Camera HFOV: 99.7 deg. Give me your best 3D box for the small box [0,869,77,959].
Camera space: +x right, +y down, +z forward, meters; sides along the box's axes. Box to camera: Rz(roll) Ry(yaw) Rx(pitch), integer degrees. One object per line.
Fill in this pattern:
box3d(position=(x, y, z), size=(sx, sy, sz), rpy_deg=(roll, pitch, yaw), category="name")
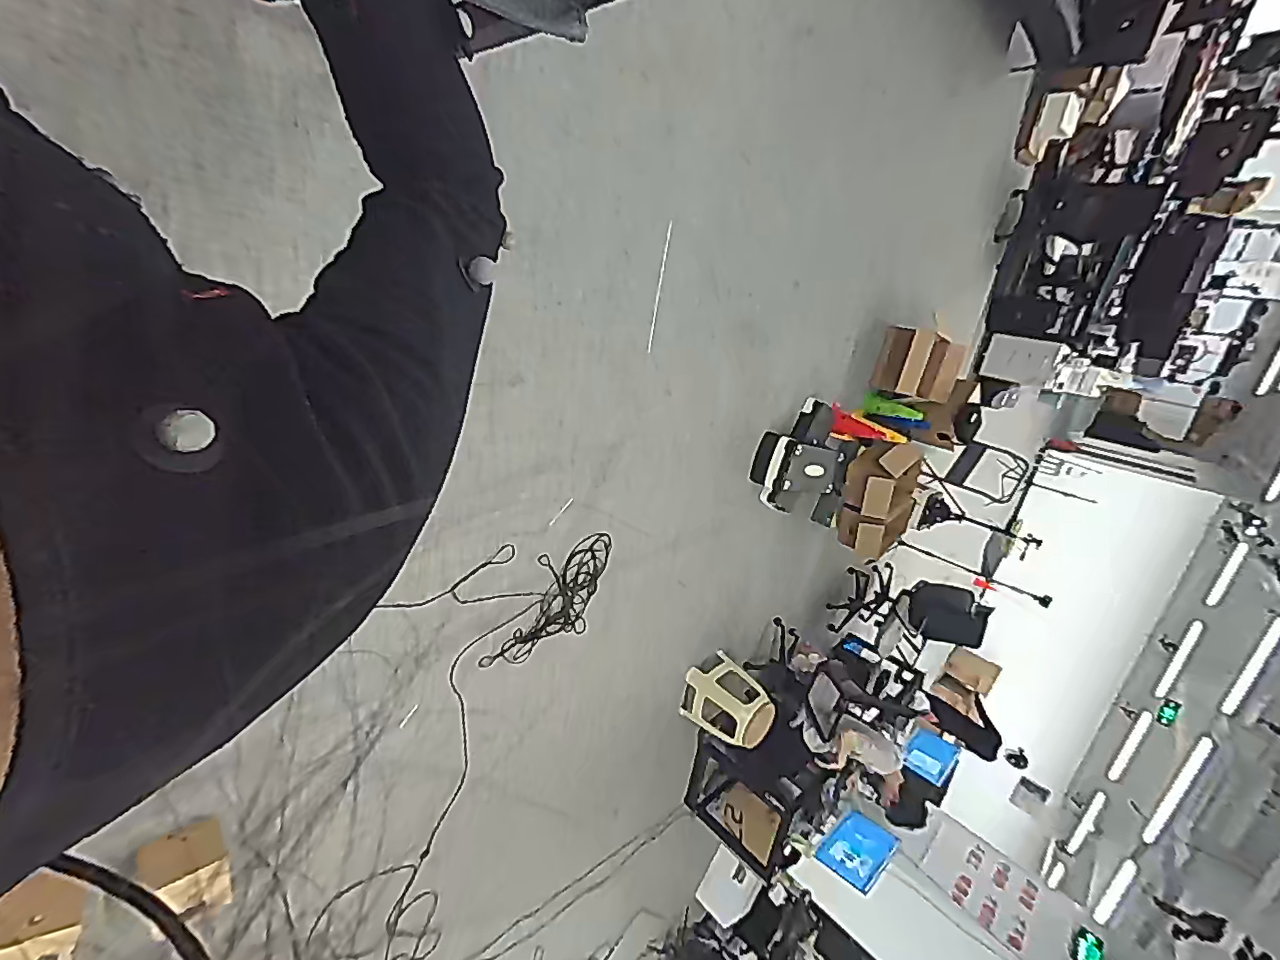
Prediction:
box3d(position=(-1.409, 1.030, 1.215), size=(0.179, 0.176, 0.168), rpy_deg=(14, 99, -49), category="small box")
